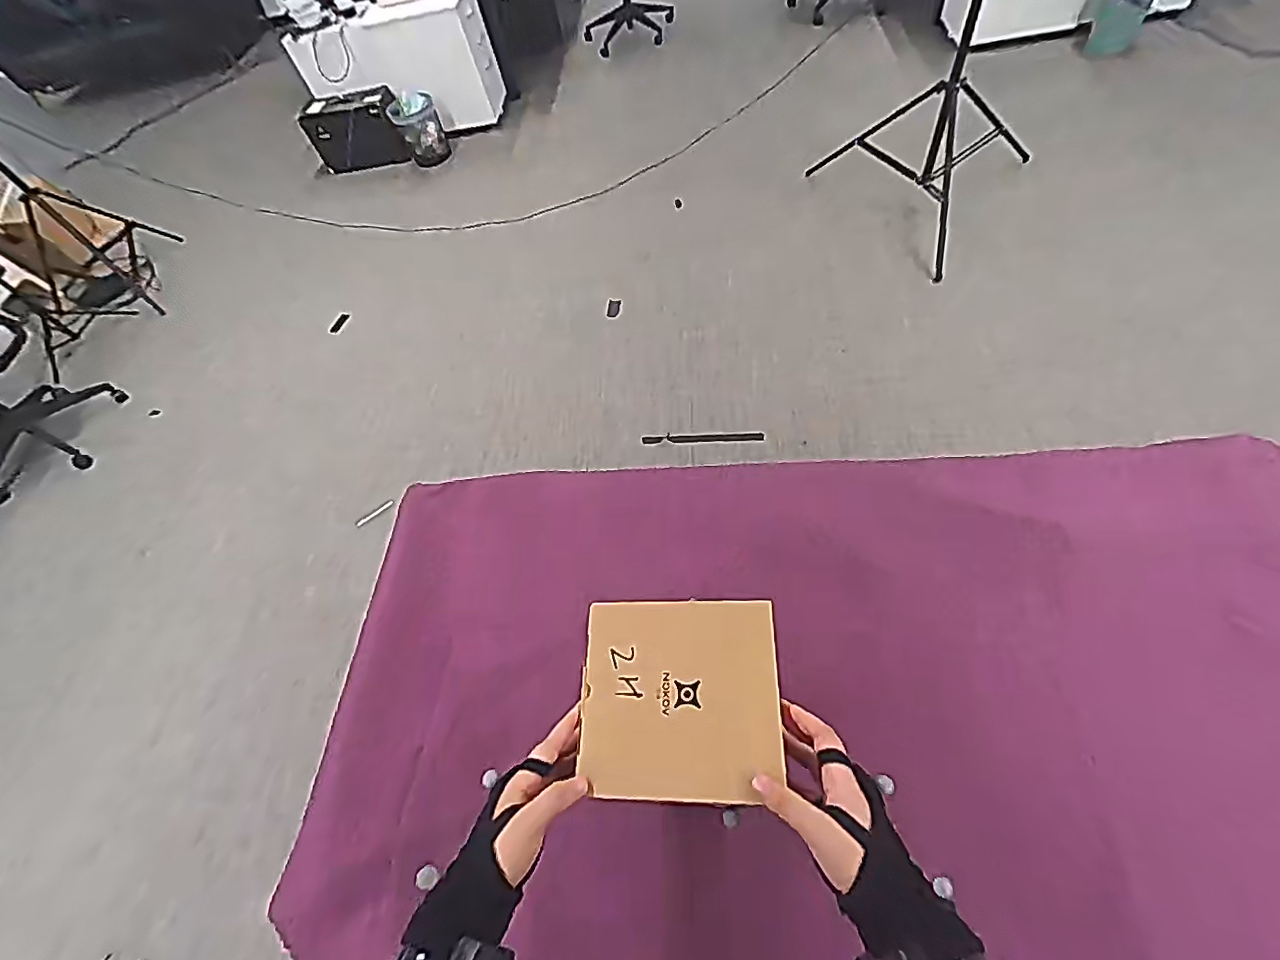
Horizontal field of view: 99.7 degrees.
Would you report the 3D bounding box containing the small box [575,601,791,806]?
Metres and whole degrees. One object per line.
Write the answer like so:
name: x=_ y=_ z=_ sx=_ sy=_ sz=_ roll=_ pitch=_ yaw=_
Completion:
small box: x=0.048 y=0.226 z=0.541 sx=0.179 sy=0.176 sz=0.168 roll=-3 pitch=59 yaw=10
